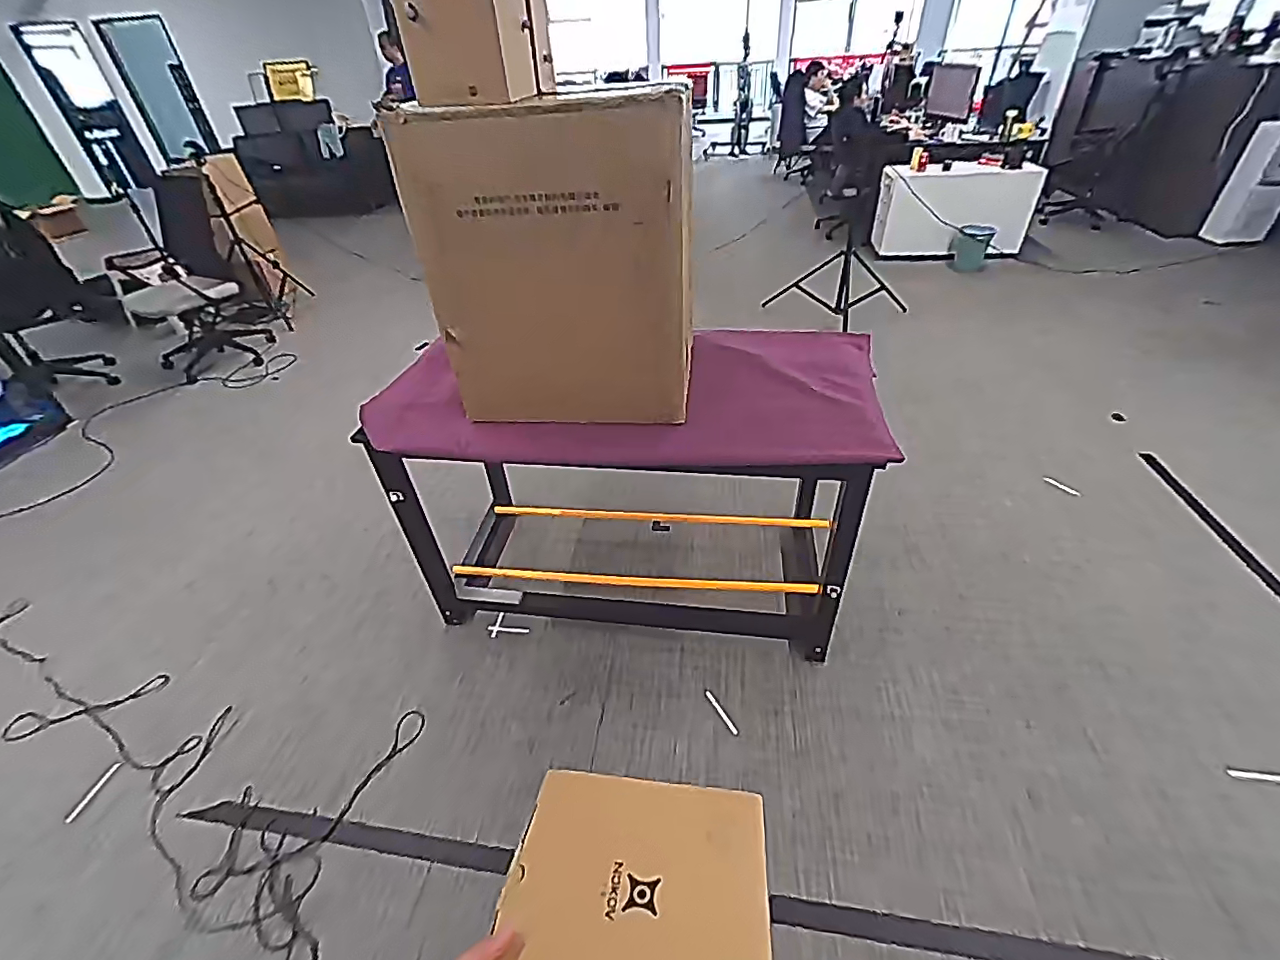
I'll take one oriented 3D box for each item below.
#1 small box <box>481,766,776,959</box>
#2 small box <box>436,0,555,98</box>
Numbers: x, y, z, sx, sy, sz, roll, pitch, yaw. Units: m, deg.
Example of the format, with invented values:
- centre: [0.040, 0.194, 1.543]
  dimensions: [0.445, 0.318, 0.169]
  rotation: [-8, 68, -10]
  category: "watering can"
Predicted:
- centre: [0.000, 0.342, 0.385]
  dimensions: [0.179, 0.176, 0.168]
  rotation: [2, 23, 9]
  category: "small box"
- centre: [-0.277, -0.861, 1.066]
  dimensions: [0.179, 0.176, 0.168]
  rotation: [1, 39, 4]
  category: "small box"
